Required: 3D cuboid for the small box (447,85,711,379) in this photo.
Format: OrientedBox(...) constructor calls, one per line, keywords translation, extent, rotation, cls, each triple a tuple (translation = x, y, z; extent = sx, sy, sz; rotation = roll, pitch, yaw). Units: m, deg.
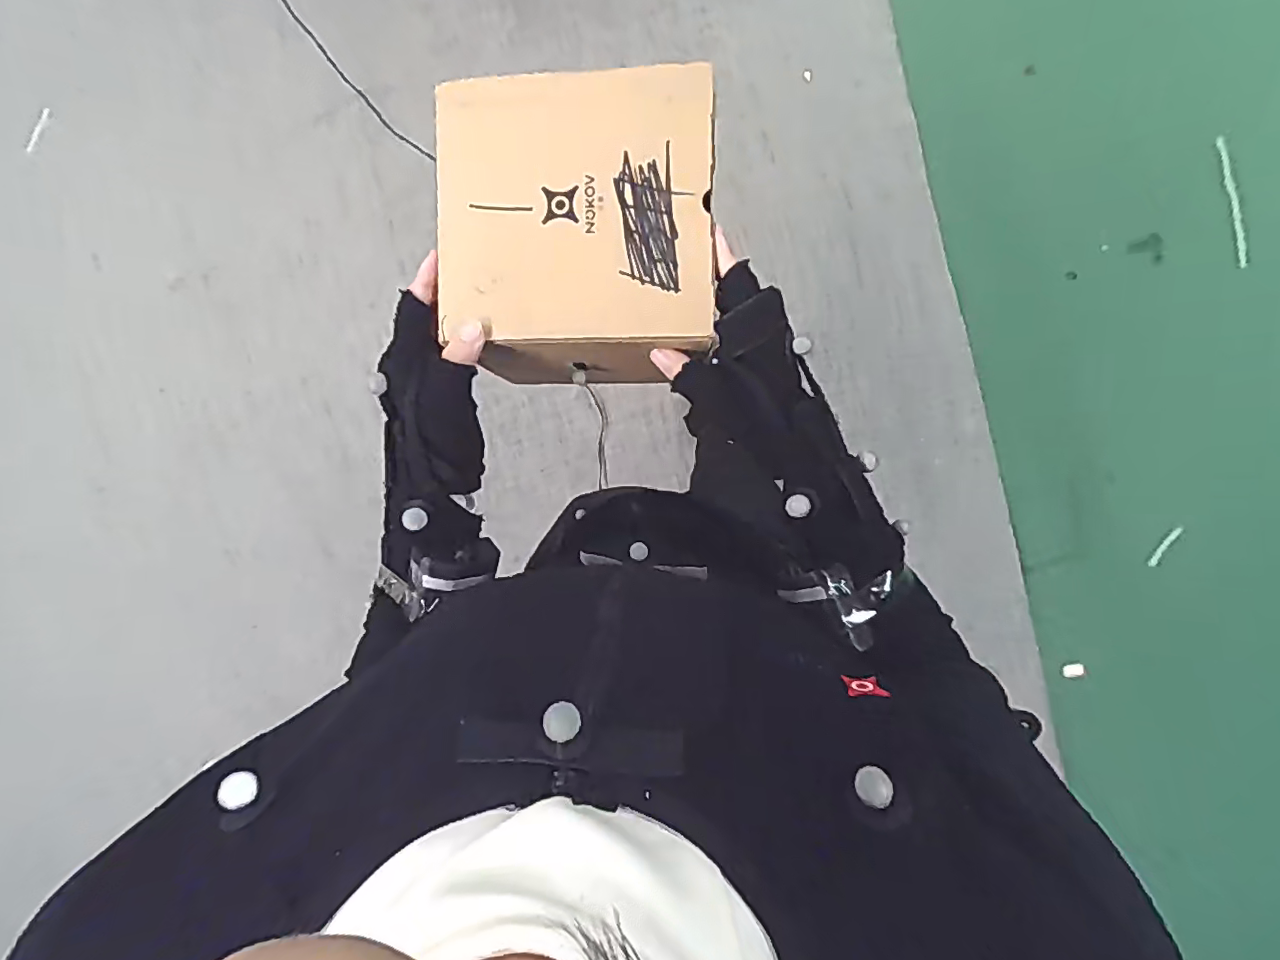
OrientedBox(translation=(-0.038, -0.179, 0.438), extent=(0.179, 0.176, 0.168), rotation=(1, 90, 3), cls="small box")
